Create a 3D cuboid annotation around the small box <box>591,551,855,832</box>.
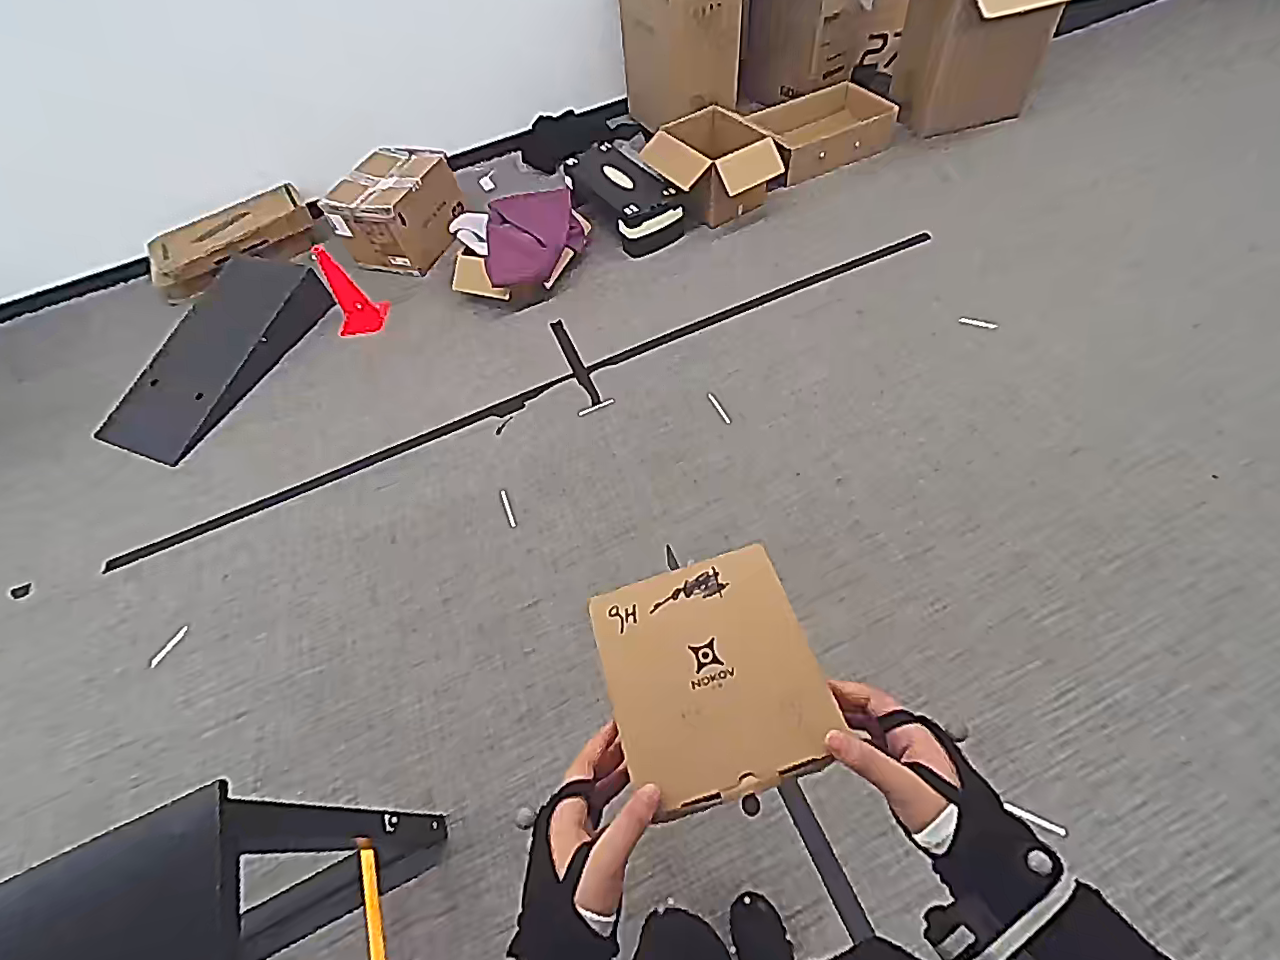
[{"bbox_3d":[0.069,0.195,0.498,0.168,0.176,0.179,-19,58,-2],"label":"small box"}]
